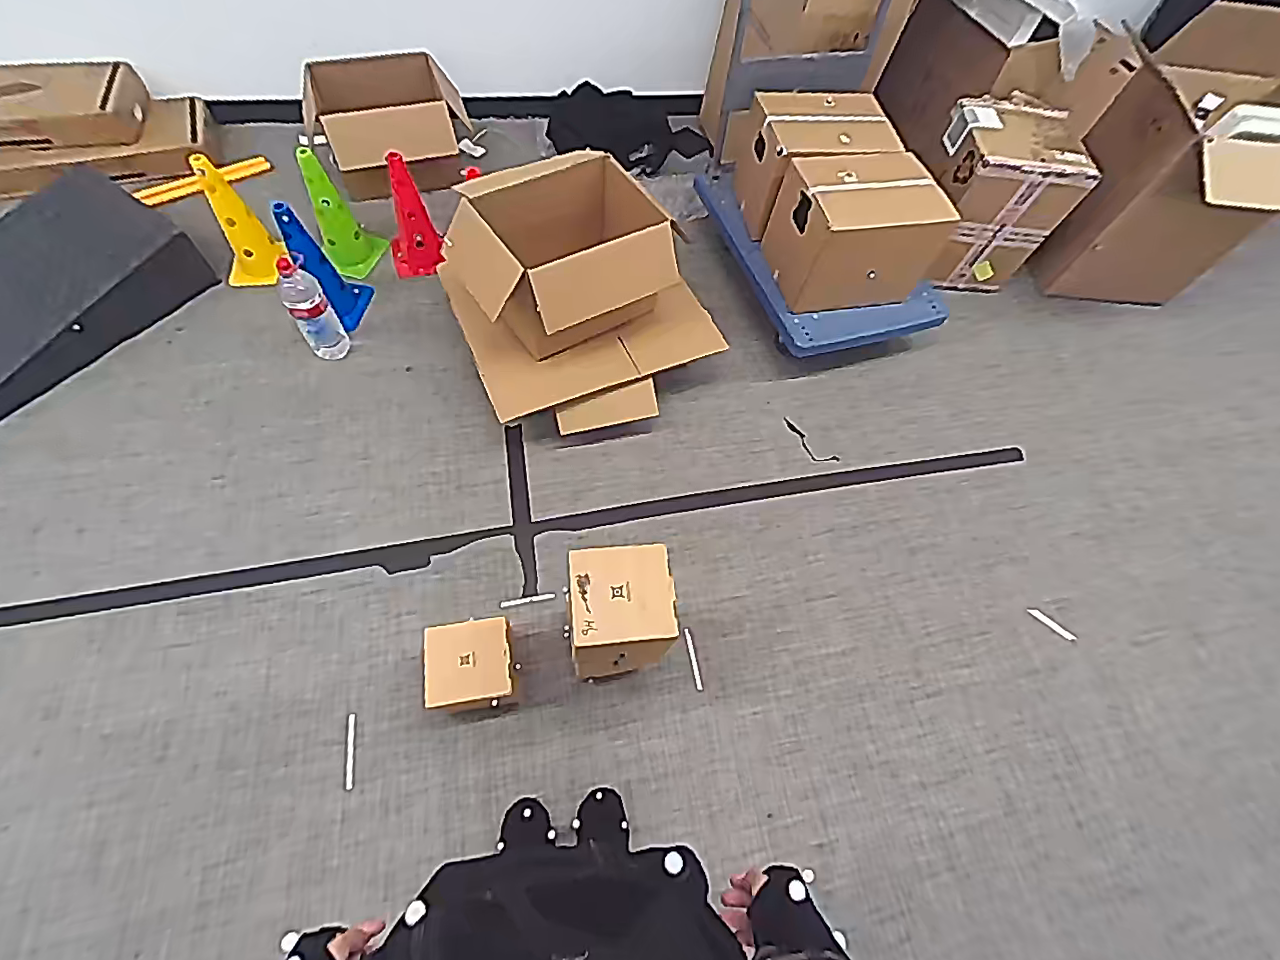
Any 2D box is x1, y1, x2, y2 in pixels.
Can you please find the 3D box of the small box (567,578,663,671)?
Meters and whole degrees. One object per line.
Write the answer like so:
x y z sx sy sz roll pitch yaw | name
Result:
-0.056 0.294 1.127 0.179 0.176 0.168 -6 65 -11 | small box

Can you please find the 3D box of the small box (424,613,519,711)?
-0.374 0.413 1.215 0.179 0.176 0.168 -7 64 -11 | small box

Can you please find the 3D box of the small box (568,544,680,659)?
-0.038 0.223 0.980 0.179 0.176 0.168 -2 64 -9 | small box
